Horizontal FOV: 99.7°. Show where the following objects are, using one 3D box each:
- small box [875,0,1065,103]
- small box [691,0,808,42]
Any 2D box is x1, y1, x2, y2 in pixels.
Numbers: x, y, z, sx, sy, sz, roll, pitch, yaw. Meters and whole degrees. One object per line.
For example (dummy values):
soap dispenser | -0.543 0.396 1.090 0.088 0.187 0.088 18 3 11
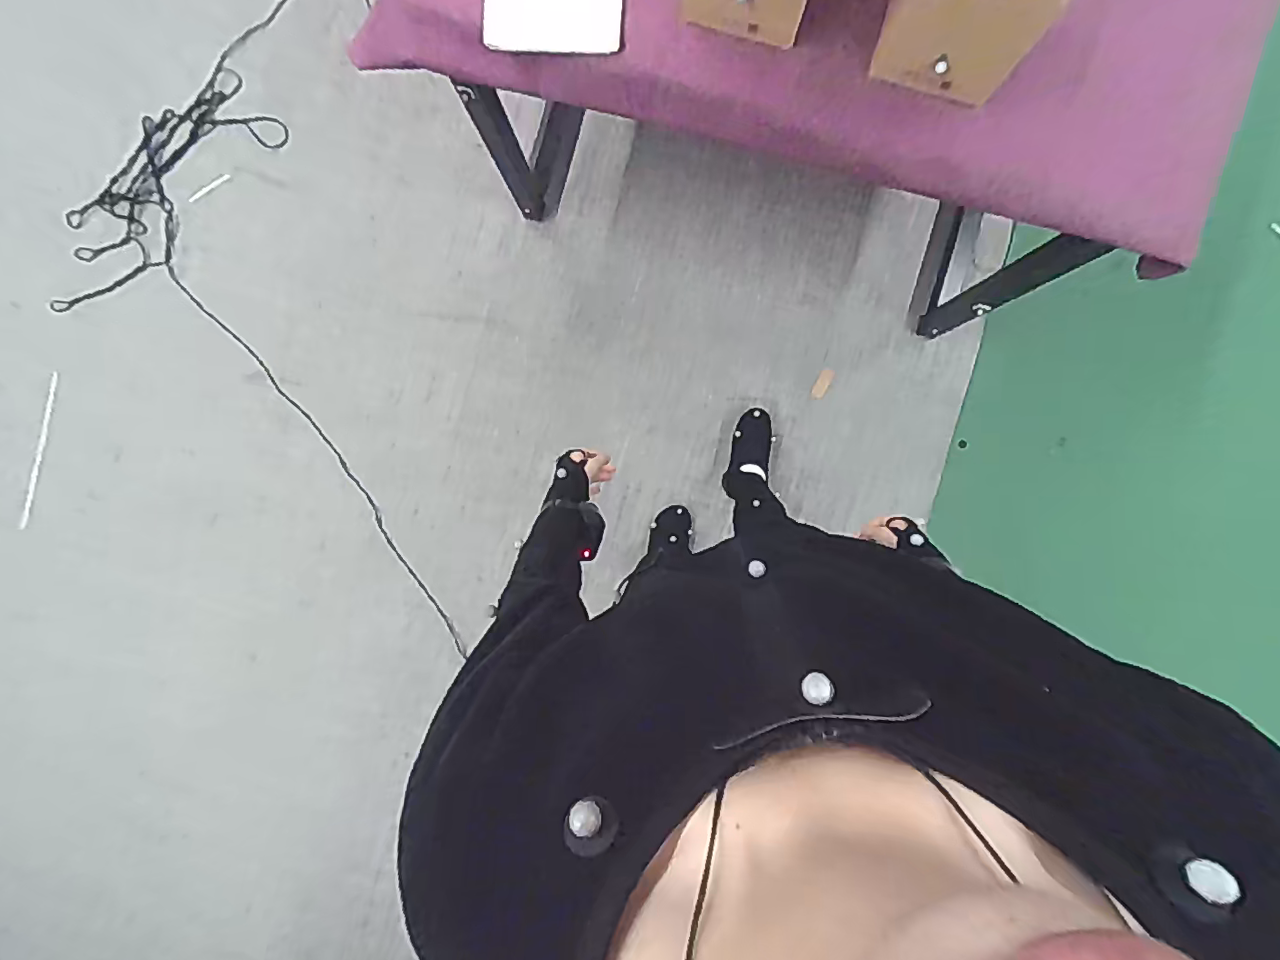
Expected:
small box | 0.423 -0.634 0.683 0.168 0.176 0.179 18 91 3
small box | 0.162 -0.721 0.692 0.168 0.176 0.179 17 92 1
